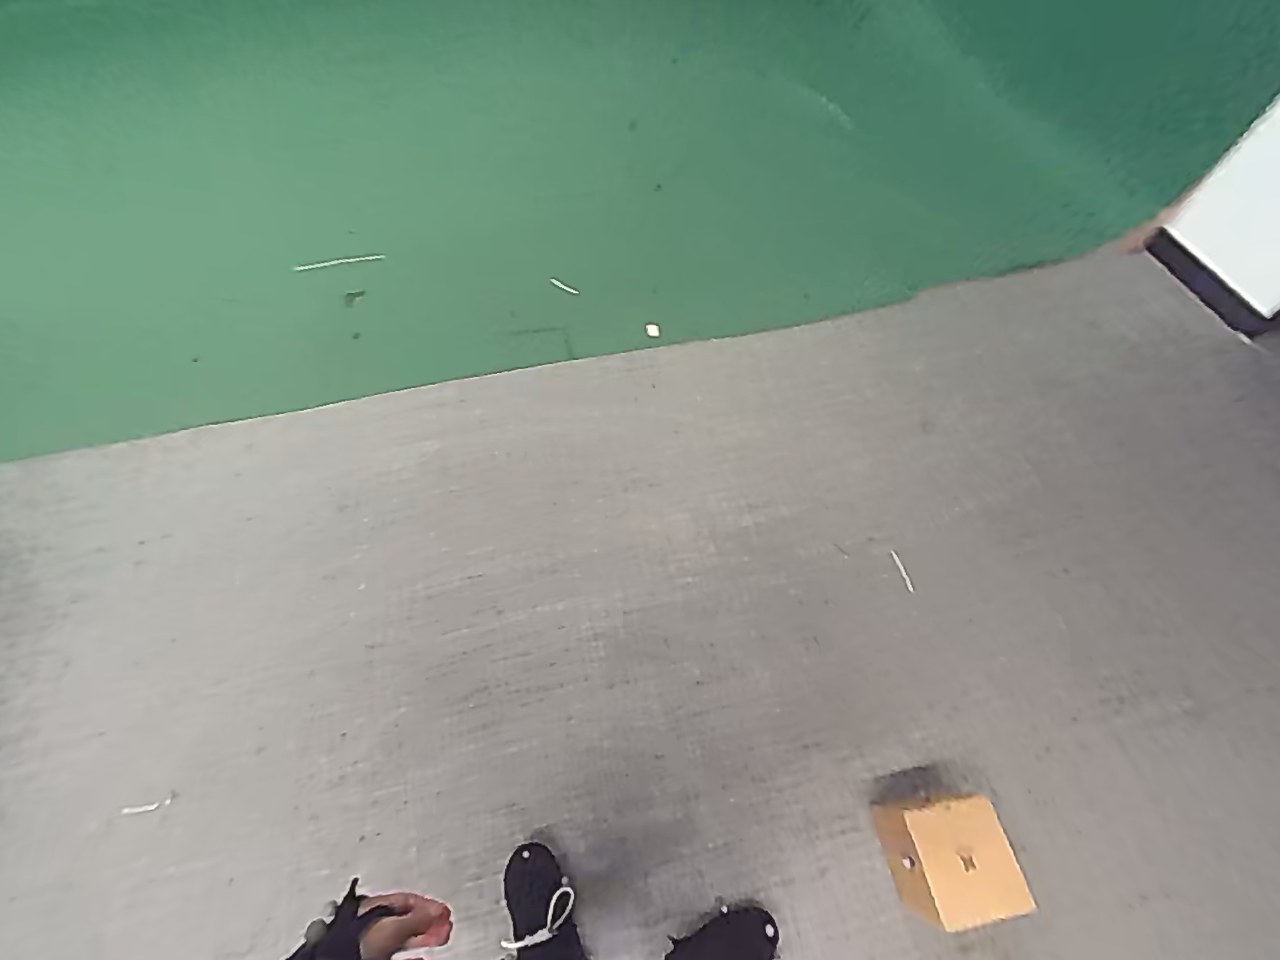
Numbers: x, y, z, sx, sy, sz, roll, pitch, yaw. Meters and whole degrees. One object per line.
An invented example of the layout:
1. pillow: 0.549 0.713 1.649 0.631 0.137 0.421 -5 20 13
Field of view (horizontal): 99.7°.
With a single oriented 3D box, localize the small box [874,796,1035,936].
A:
1. small box: 0.567 0.701 1.003 0.168 0.176 0.179 -9 61 -4
